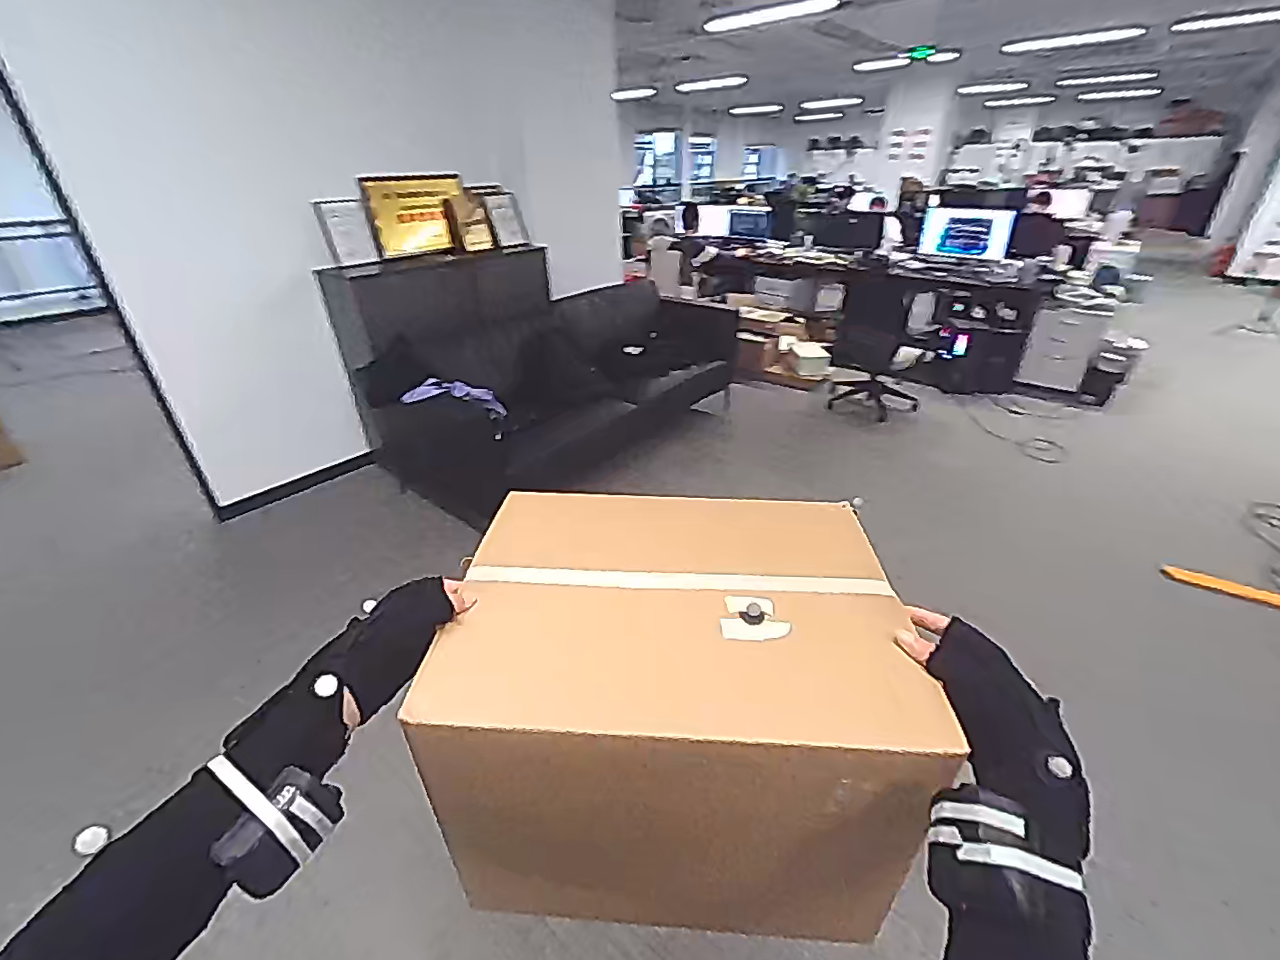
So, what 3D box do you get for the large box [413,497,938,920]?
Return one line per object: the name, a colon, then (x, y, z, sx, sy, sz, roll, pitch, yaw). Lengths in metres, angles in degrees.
large box: (0.026, 0.232, 0.602, 0.408, 0.320, 0.320, 3, 31, 2)
